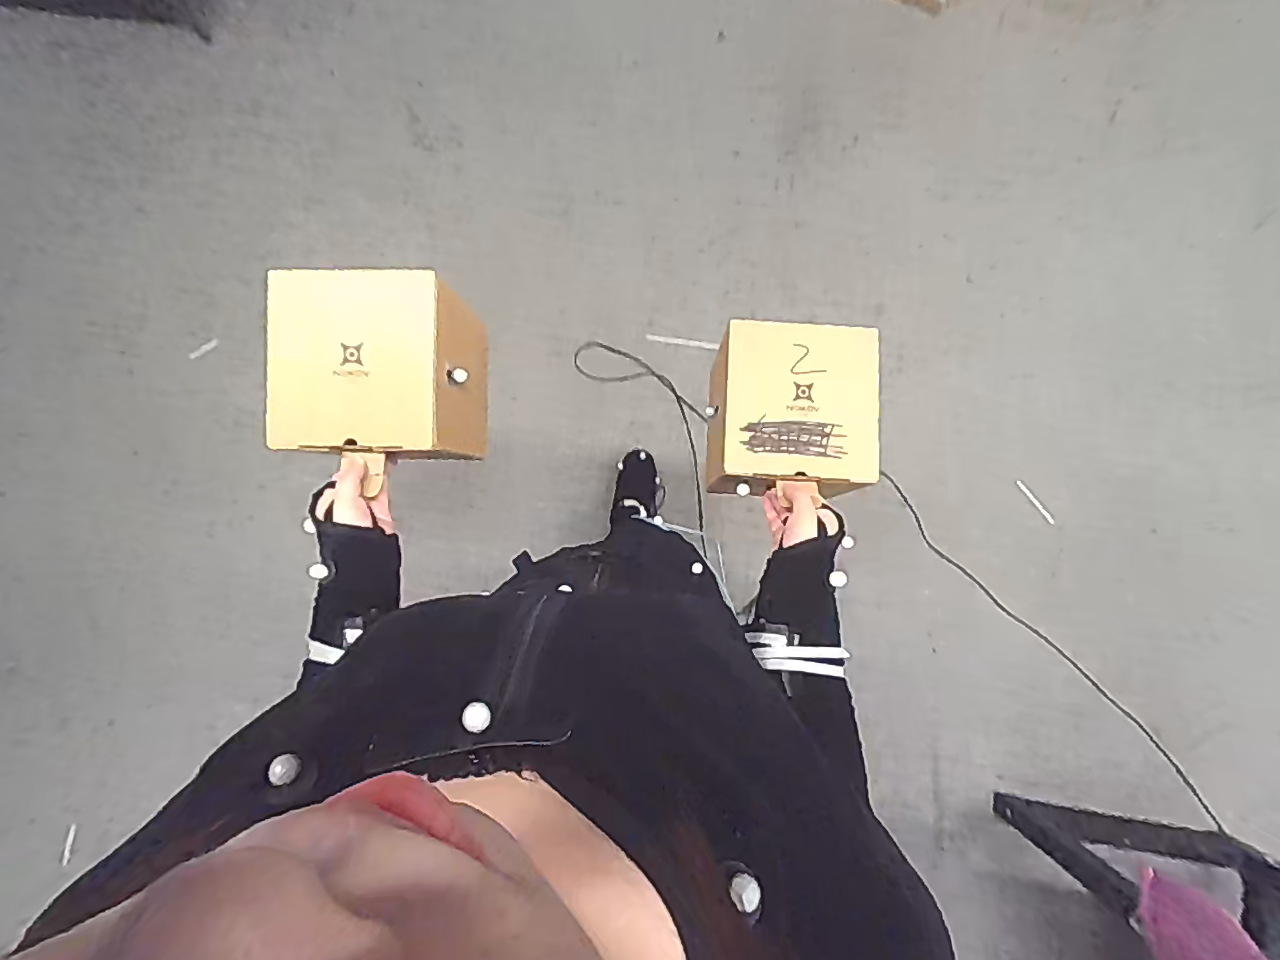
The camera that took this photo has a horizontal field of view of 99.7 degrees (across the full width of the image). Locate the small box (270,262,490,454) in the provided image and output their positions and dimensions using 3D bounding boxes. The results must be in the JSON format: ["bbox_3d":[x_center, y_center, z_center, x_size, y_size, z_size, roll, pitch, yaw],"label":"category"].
[{"bbox_3d":[-0.273,-0.122,0.602,0.168,0.176,0.179,1,91,1],"label":"small box"}]
